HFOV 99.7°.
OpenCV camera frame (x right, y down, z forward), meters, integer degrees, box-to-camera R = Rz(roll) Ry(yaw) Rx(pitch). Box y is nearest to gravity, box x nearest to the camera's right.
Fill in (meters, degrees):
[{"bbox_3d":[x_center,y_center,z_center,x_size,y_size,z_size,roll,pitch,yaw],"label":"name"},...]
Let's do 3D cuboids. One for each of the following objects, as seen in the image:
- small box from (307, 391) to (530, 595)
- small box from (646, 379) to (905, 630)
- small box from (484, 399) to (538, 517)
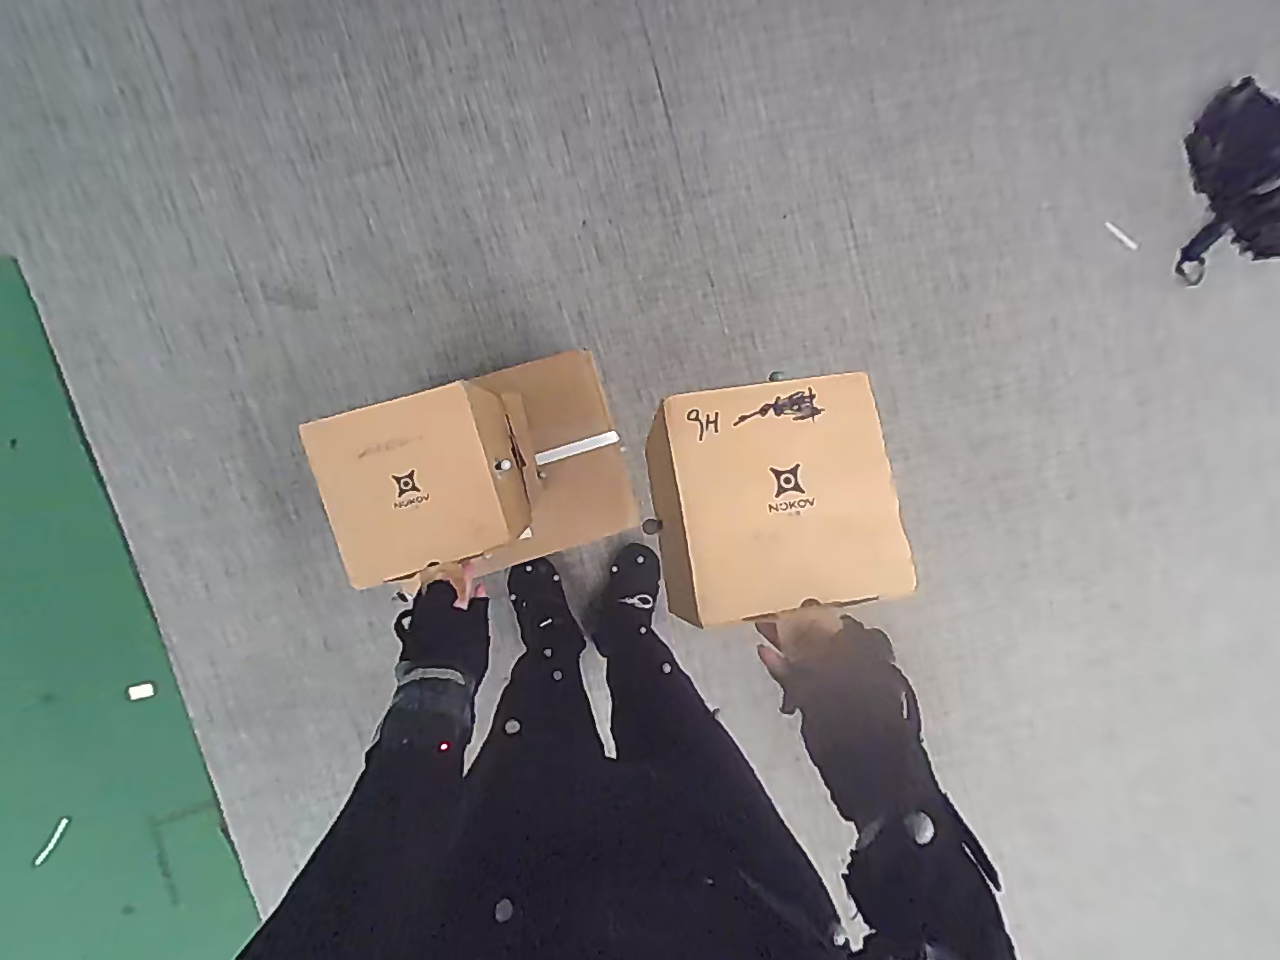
[{"bbox_3d":[-0.234,0.007,0.623,0.168,0.176,0.179,-17,95,-4],"label":"small box"},{"bbox_3d":[0.103,0.026,0.490,0.168,0.176,0.179,-8,81,-6],"label":"small box"},{"bbox_3d":[-0.249,-0.024,0.783,0.179,0.176,0.168,-10,97,-3],"label":"small box"}]
